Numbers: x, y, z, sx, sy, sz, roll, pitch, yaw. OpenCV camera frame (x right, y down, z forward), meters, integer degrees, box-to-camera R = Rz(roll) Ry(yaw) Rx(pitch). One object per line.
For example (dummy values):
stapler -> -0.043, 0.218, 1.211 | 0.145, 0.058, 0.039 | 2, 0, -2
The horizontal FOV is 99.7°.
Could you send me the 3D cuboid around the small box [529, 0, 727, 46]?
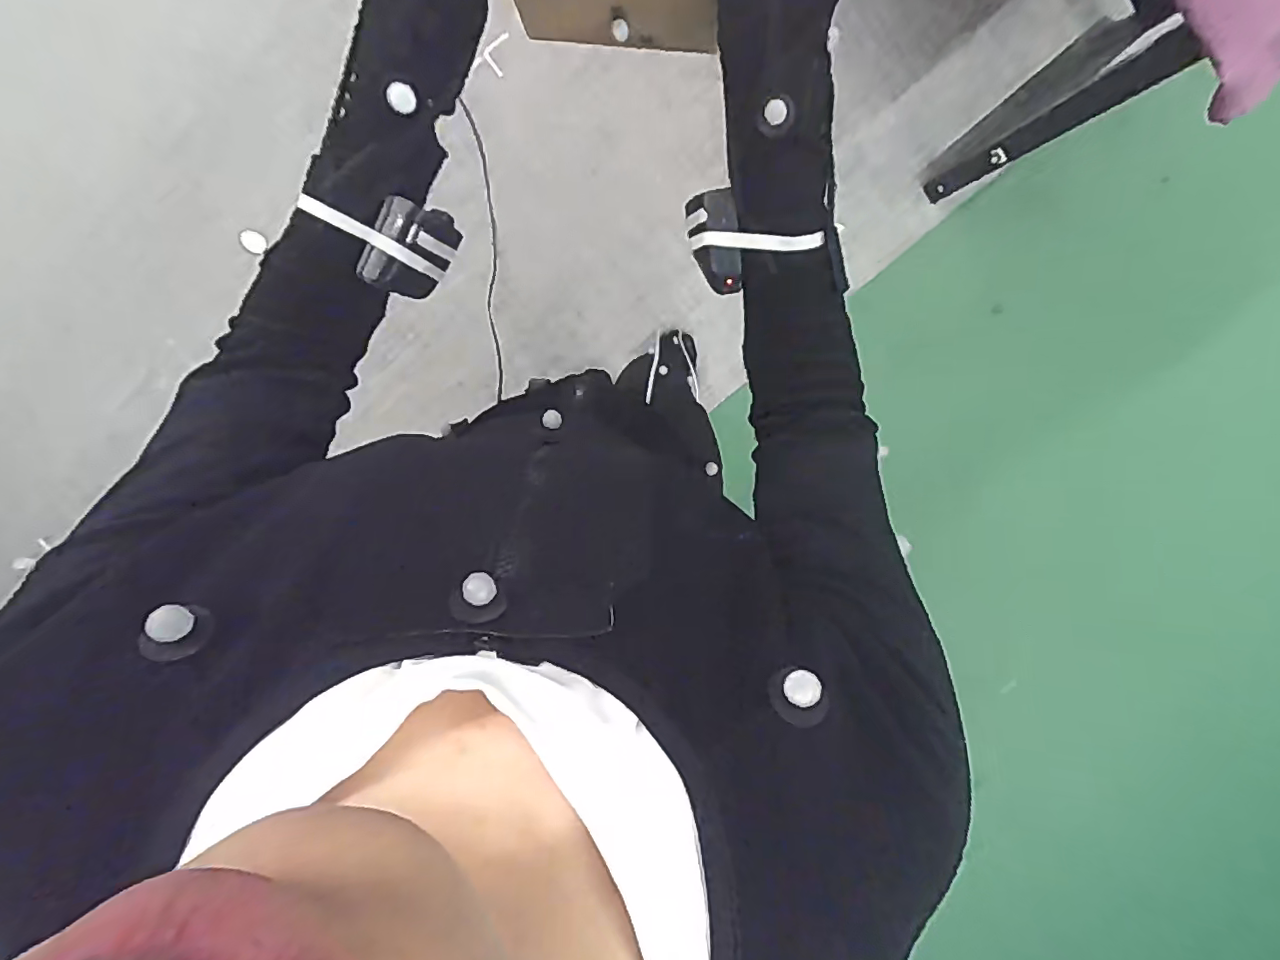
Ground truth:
small box -> -0.008, -0.440, 0.362 | 0.168, 0.176, 0.179 | 4, 108, -2
